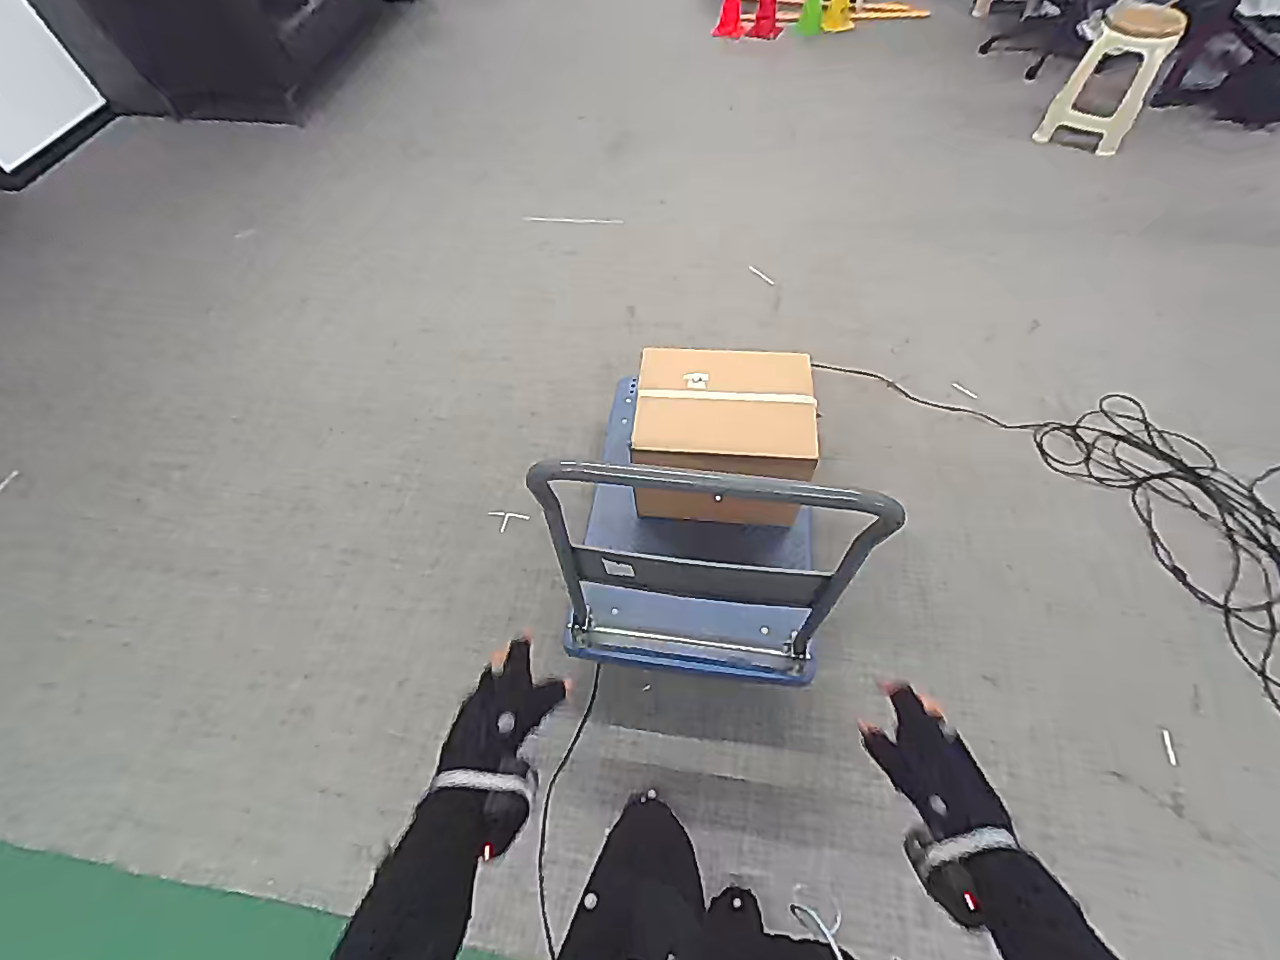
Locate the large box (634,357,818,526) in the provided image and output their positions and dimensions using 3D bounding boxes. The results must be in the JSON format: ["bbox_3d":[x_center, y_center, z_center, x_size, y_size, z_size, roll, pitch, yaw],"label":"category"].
[{"bbox_3d":[0.206,-0.091,1.374,0.408,0.320,0.320,3,56,6],"label":"large box"}]
